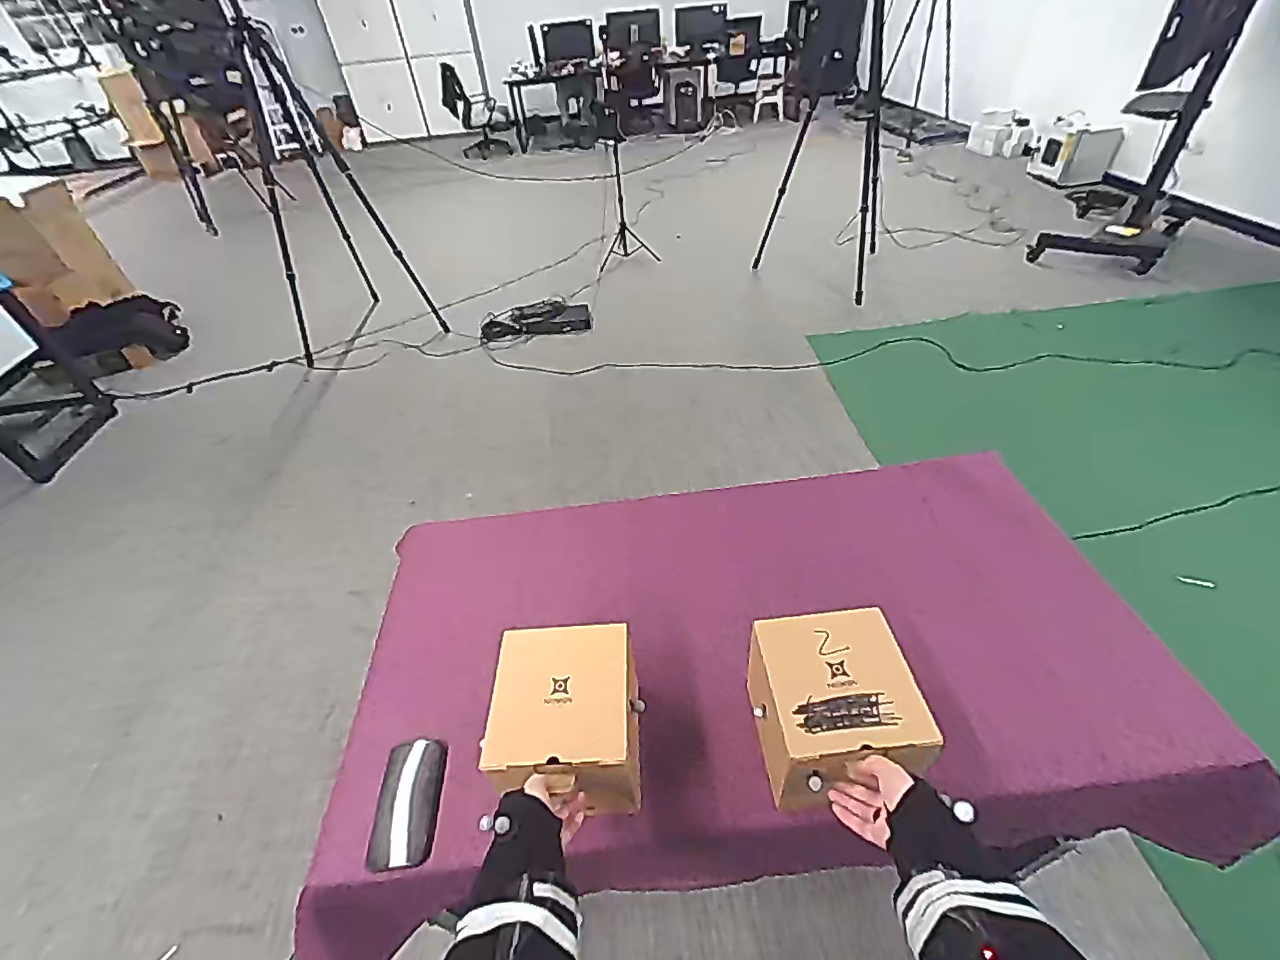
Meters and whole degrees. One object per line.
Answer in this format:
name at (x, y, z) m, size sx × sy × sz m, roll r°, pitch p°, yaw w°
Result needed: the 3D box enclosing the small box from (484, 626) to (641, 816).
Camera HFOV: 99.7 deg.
small box at (-0.087, 0.312, 0.703) m, size 0.168 × 0.176 × 0.179 m, roll -3°, pitch 43°, yaw 2°
